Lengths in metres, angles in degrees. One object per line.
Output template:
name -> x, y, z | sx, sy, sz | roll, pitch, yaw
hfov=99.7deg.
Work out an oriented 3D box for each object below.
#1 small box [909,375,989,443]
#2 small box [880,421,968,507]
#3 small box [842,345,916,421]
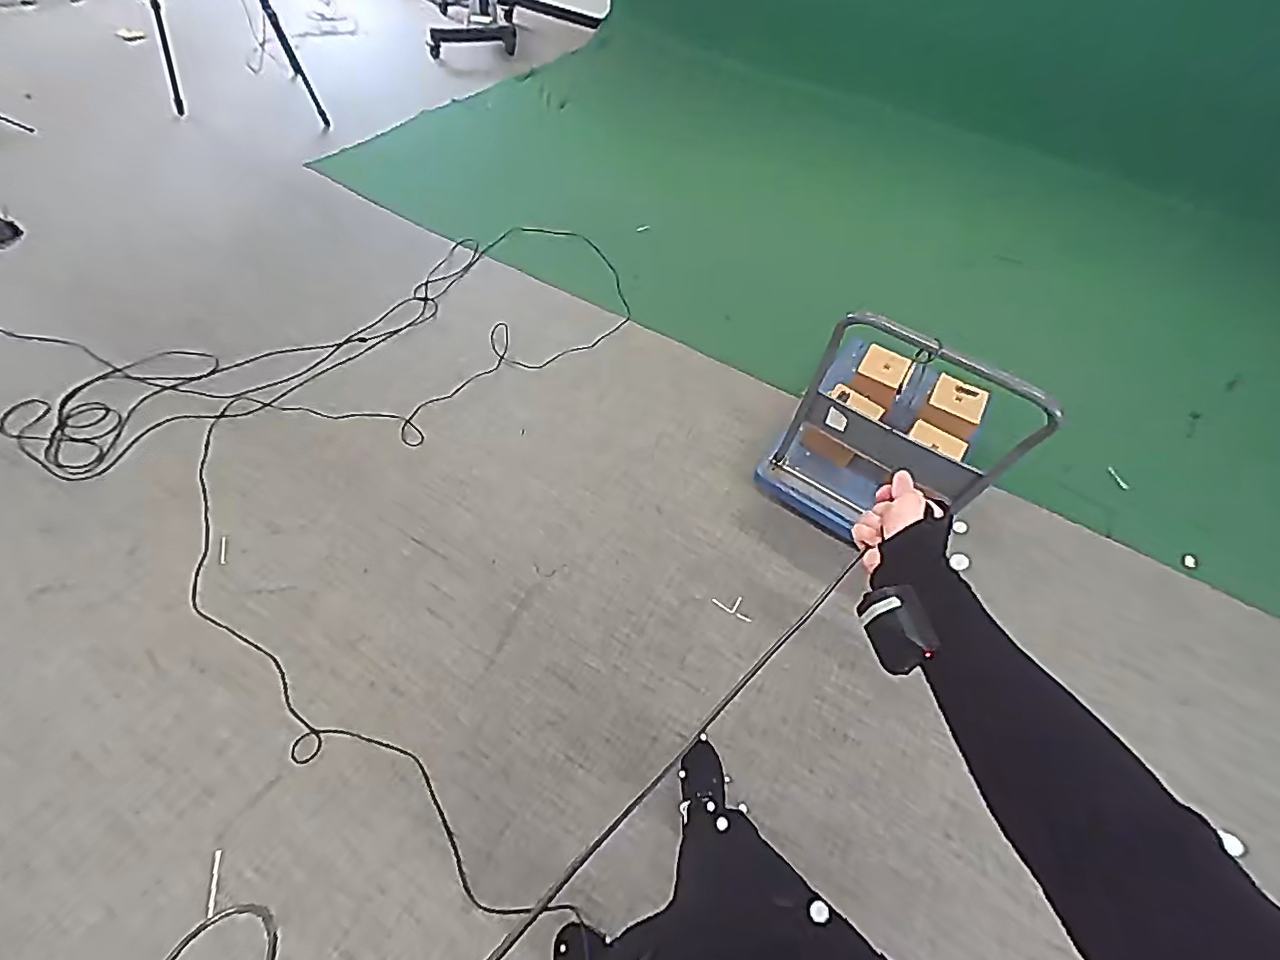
small box -> 1.062, -0.225, 1.869 | 0.168, 0.176, 0.179 | 29, 59, 15
small box -> 0.905, -0.050, 1.735 | 0.168, 0.176, 0.179 | 33, 59, 17
small box -> 0.848, -0.341, 1.933 | 0.168, 0.176, 0.179 | 29, 58, 14
